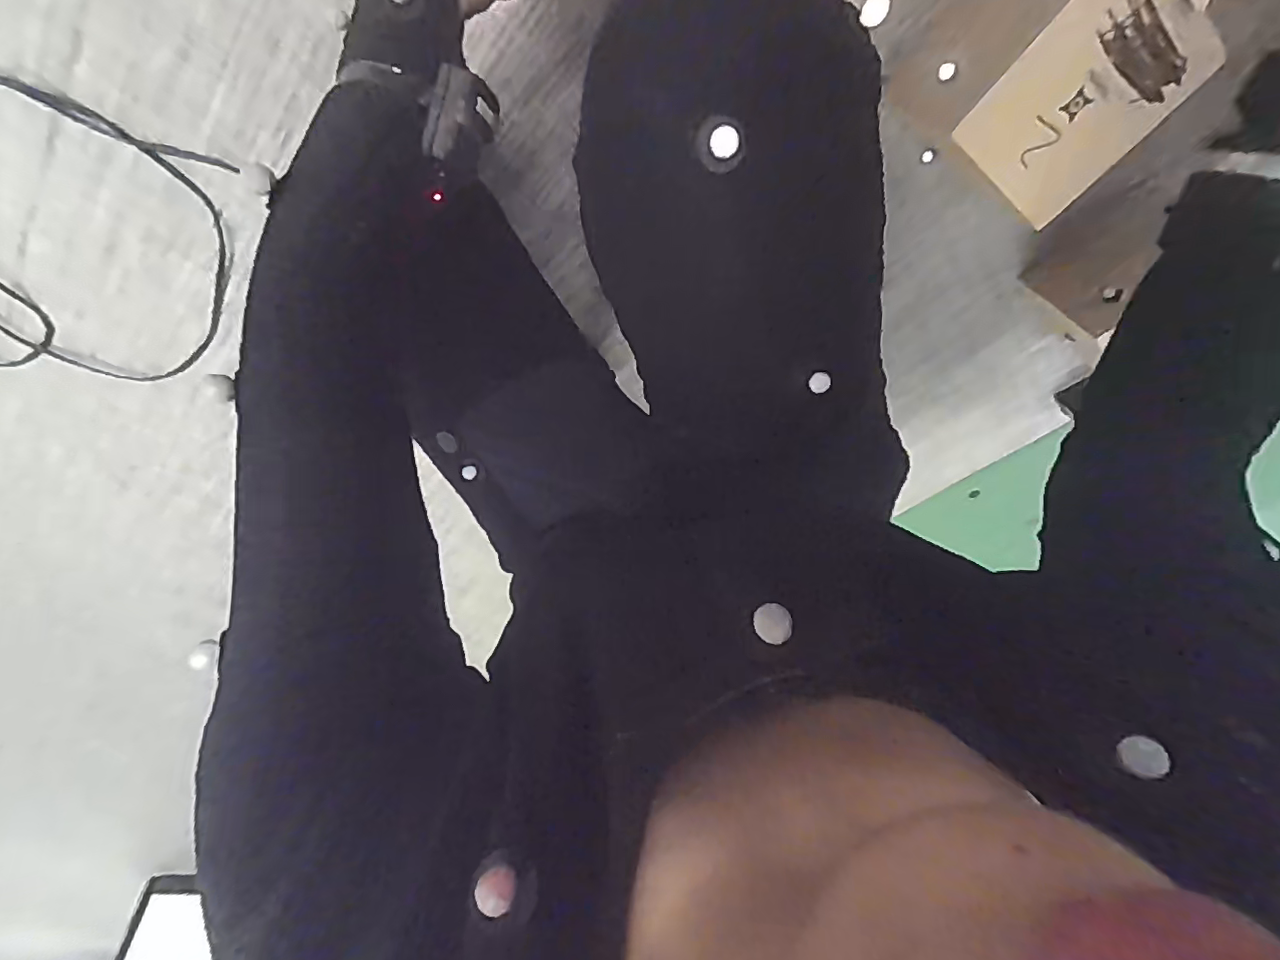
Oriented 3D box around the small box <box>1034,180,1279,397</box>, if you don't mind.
[{"bbox_3d":[0.670,-0.252,0.718,0.168,0.176,0.179,27,126,-31],"label":"small box"}]
